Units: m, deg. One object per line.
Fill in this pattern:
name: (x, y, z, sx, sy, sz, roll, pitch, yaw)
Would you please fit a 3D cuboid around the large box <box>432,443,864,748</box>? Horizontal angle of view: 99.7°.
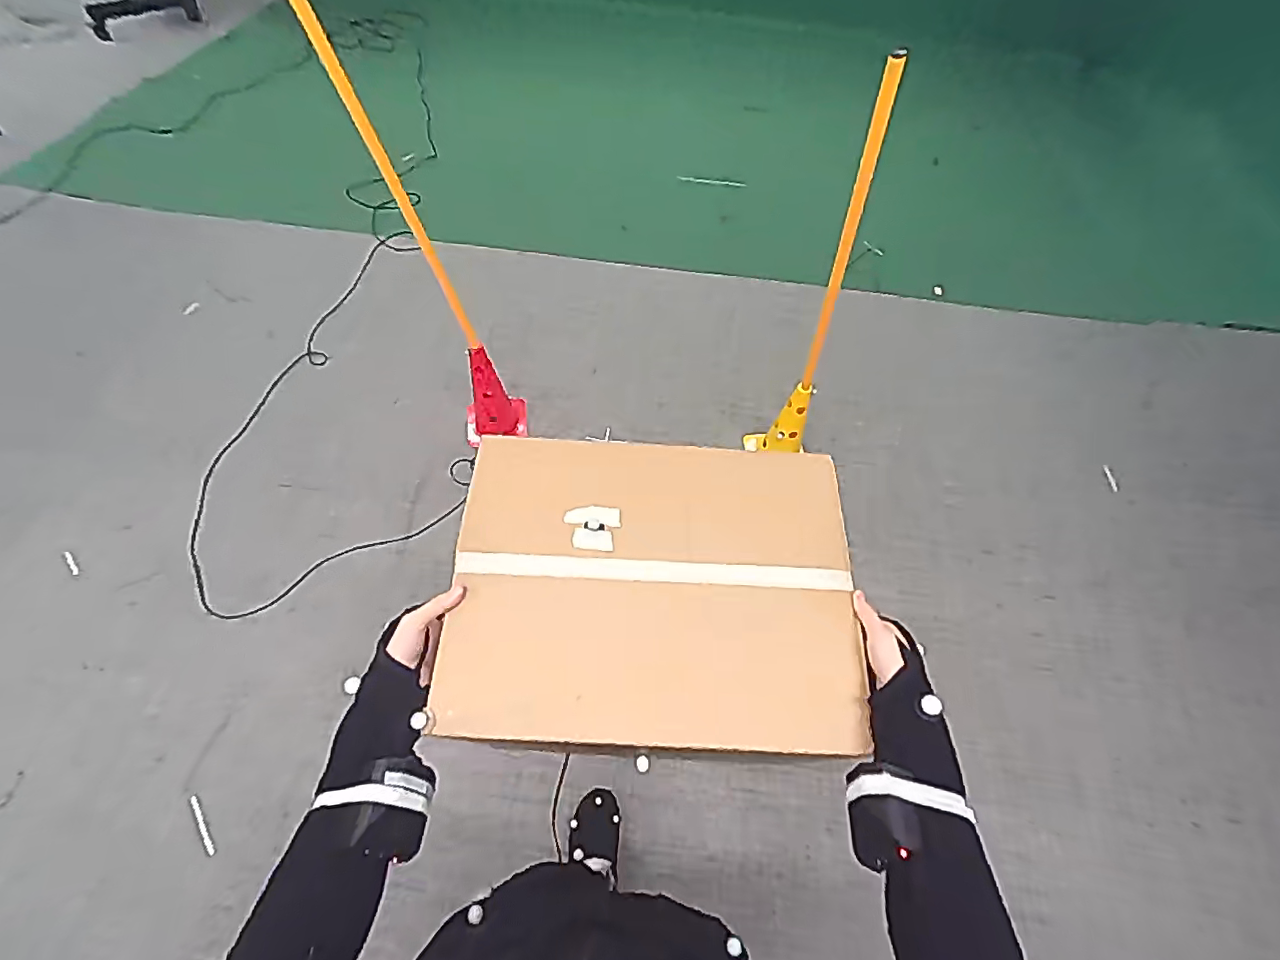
large box: (0.010, 0.167, 0.692, 0.408, 0.320, 0.320, 3, 61, 0)
